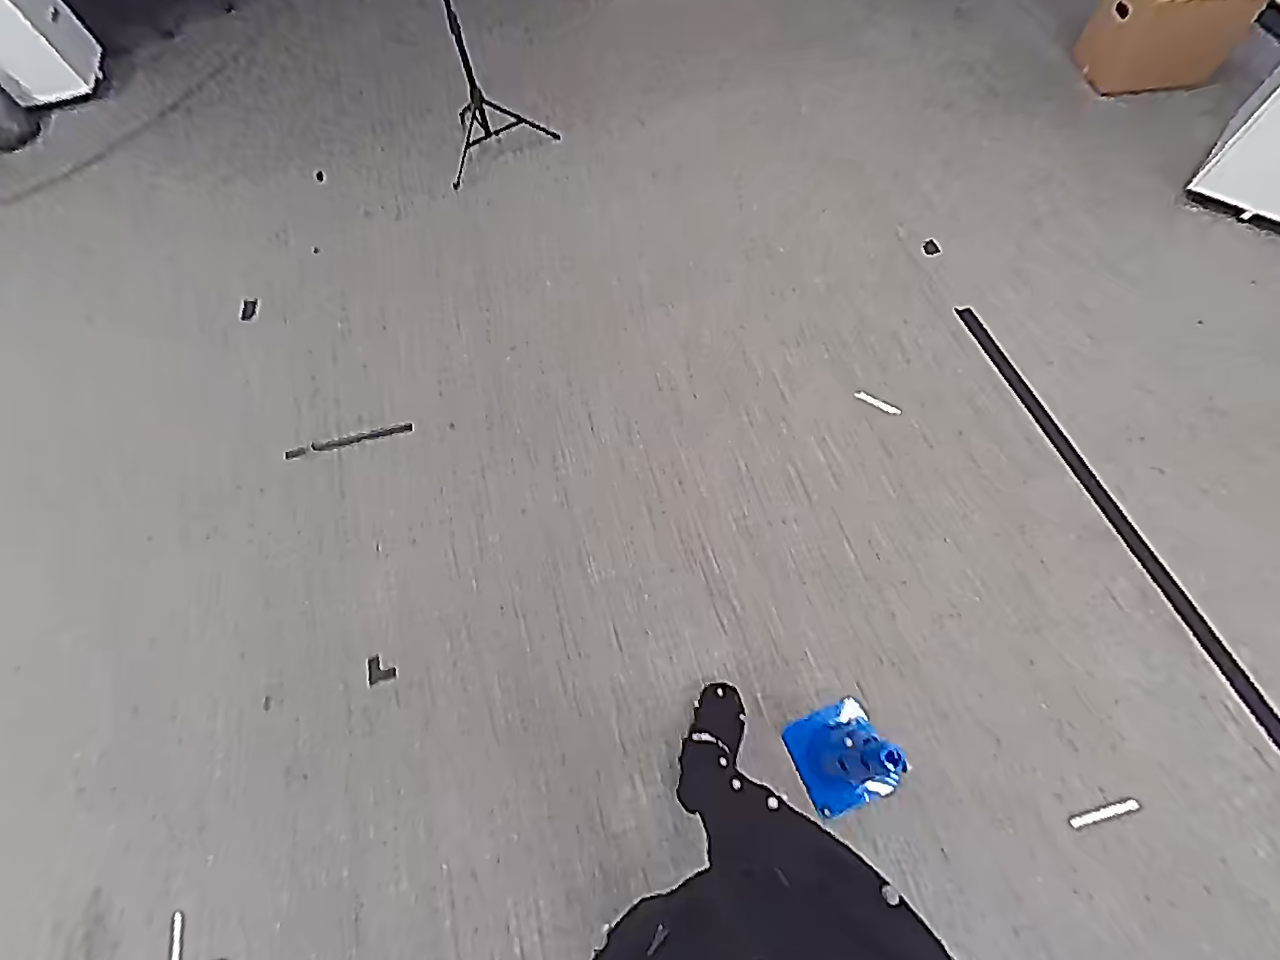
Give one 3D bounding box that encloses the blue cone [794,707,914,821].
[{"bbox_3d":[0.446,0.554,1.062,0.193,0.380,0.192,-20,64,-5],"label":"blue cone"}]
